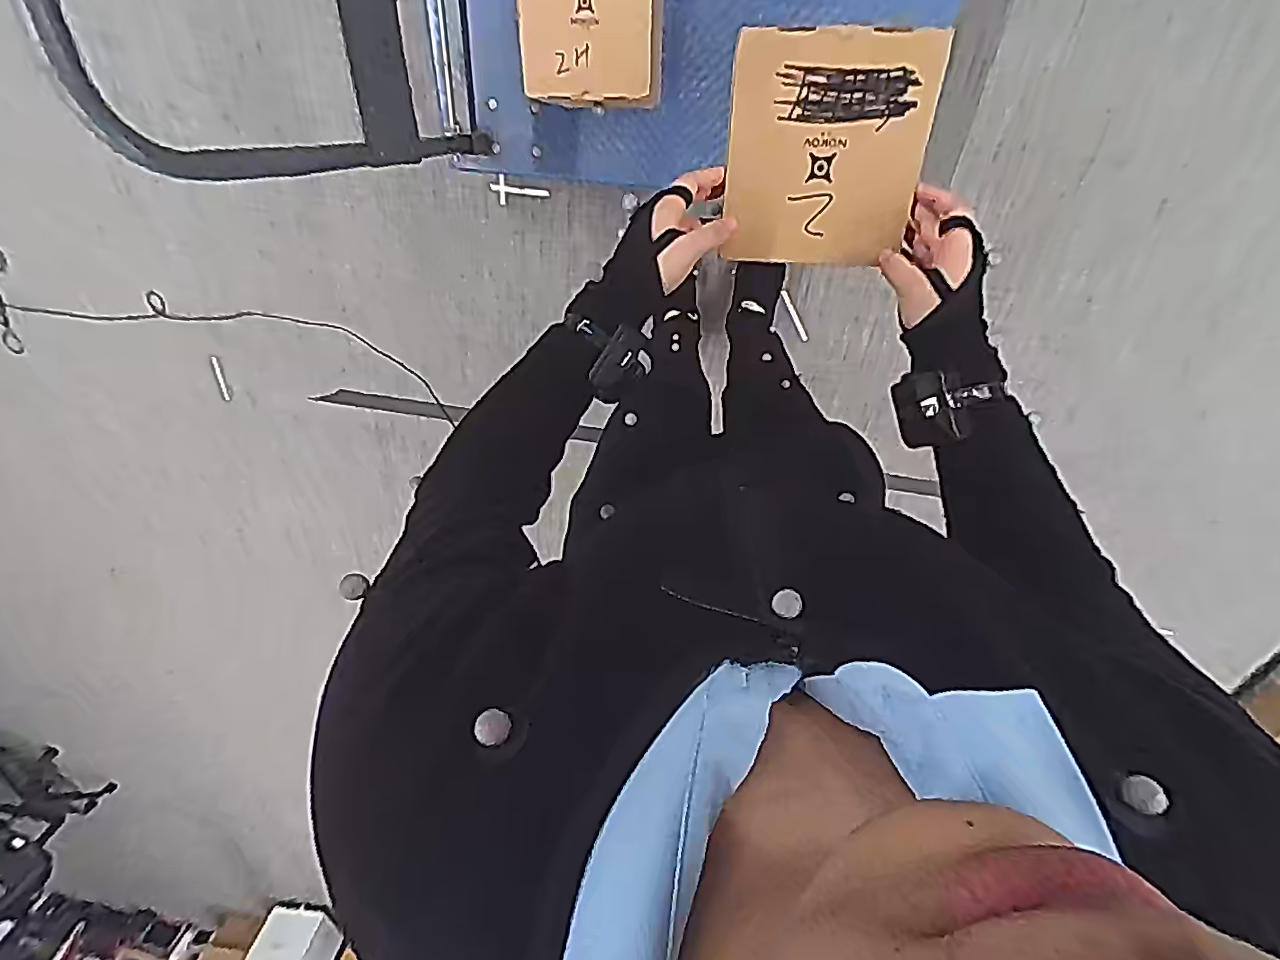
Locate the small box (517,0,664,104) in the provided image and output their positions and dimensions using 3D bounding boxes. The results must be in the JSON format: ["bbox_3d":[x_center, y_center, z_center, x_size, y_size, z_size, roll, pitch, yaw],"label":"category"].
[{"bbox_3d":[-0.058,-0.606,0.710,0.168,0.176,0.179,4,124,5],"label":"small box"}]
